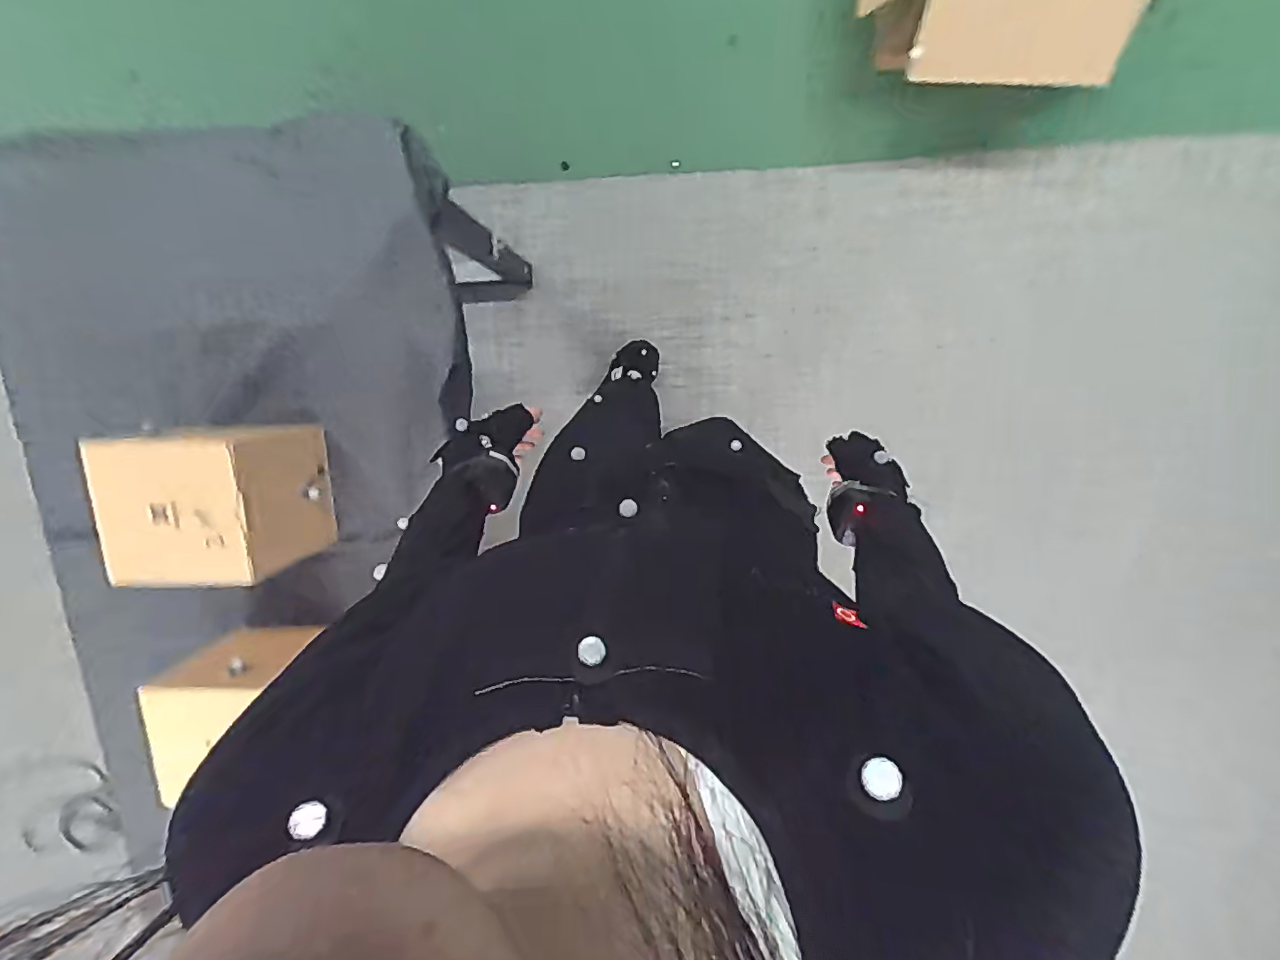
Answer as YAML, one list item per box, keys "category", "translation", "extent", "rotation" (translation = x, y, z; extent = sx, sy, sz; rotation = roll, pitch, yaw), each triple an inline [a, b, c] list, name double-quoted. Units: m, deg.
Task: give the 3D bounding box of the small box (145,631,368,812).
- category: "small box"
  translation: [-0.508, 0.319, 0.742]
  extent: [0.179, 0.176, 0.168]
  rotation: [-2, 101, 2]

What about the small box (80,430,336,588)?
- category: "small box"
  translation: [-0.523, 0.028, 0.682]
  extent: [0.179, 0.176, 0.168]
  rotation: [-1, 102, 2]
